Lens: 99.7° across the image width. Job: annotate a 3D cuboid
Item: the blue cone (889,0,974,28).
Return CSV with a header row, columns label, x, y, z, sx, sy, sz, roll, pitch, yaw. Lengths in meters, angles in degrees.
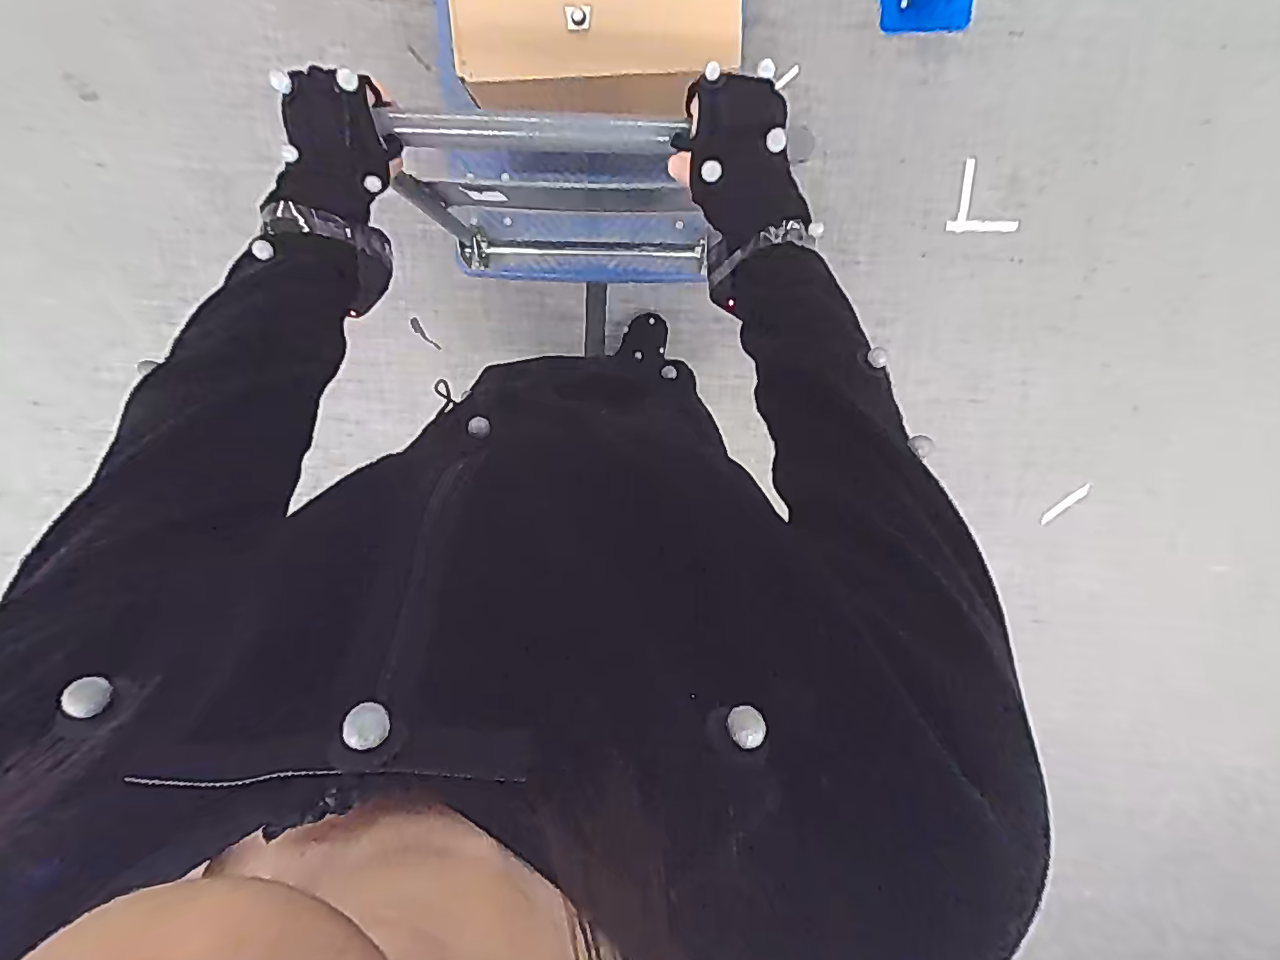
label,x,y,z,sx,sy,sz,roll,pitch,yaw
blue cone,0.629,-1.030,0.989,0.193,0.380,0.192,-2,105,-1
